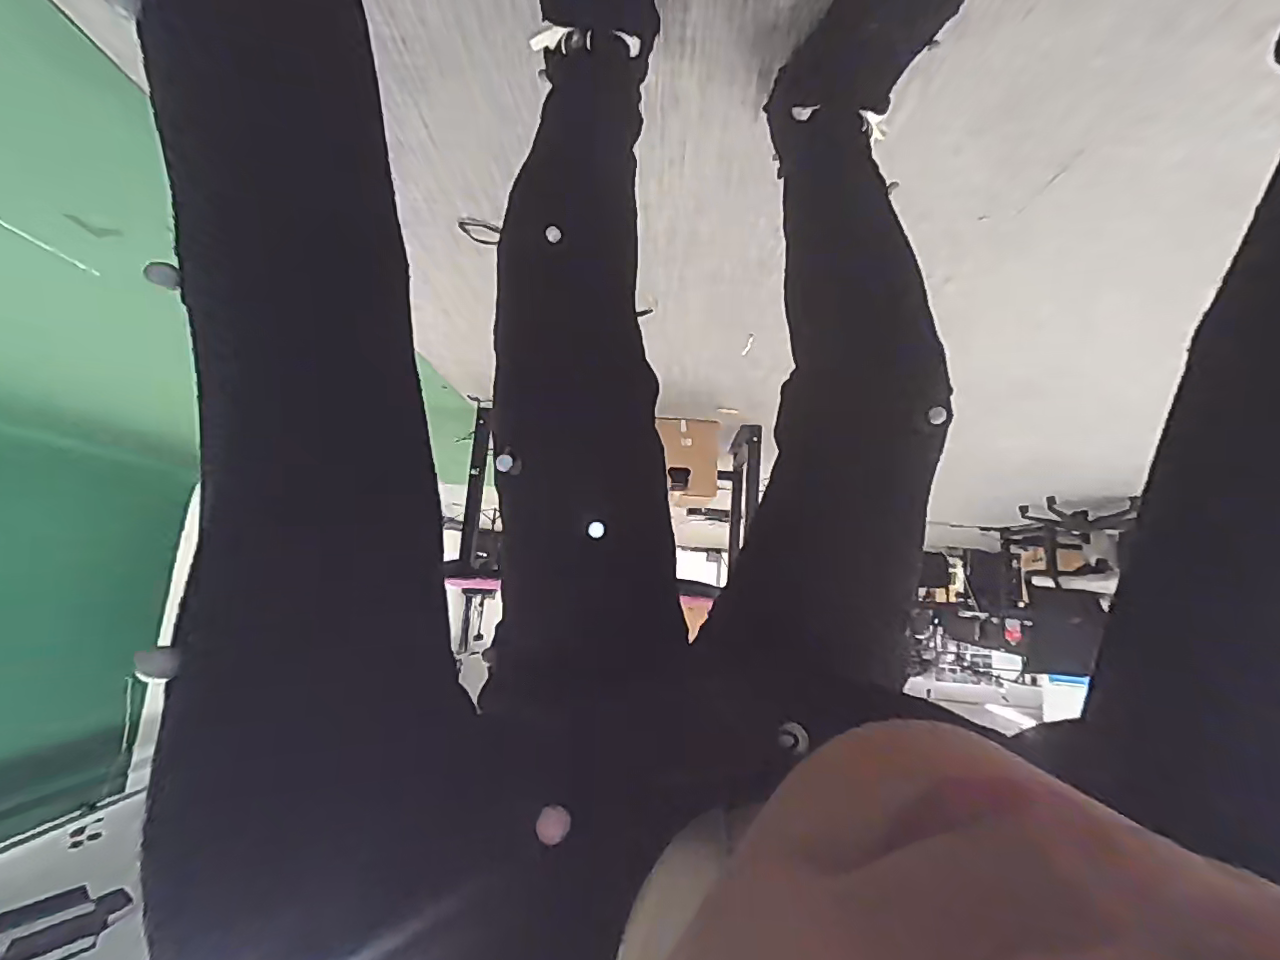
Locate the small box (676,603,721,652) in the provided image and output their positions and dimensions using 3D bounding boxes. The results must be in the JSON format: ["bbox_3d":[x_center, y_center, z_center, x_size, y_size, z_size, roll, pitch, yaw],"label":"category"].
[{"bbox_3d":[0.235,0.588,2.177,0.168,0.176,0.179,5,172,3],"label":"small box"}]

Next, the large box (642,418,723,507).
[{"bbox_3d":[0.181,-0.065,2.341,0.320,0.320,0.408,5,171,2],"label":"large box"}]
